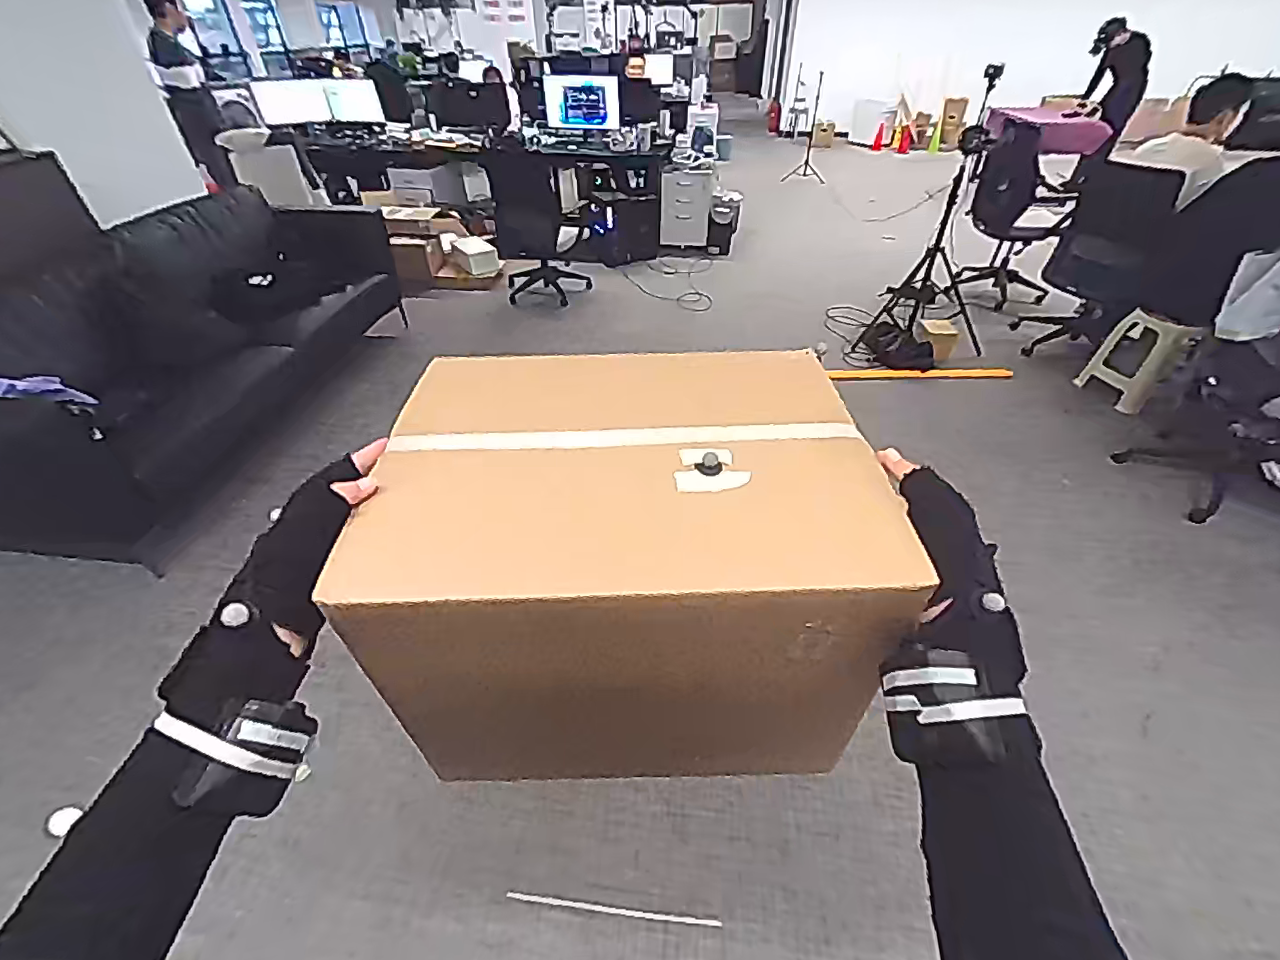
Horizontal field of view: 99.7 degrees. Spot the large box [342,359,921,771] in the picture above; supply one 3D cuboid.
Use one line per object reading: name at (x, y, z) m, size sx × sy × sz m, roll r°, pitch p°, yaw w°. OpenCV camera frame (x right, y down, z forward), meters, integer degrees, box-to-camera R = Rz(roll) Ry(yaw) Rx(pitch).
large box at (-0.009, 0.083, 0.572) m, size 0.408 × 0.320 × 0.320 m, roll 0°, pitch 42°, yaw -1°
